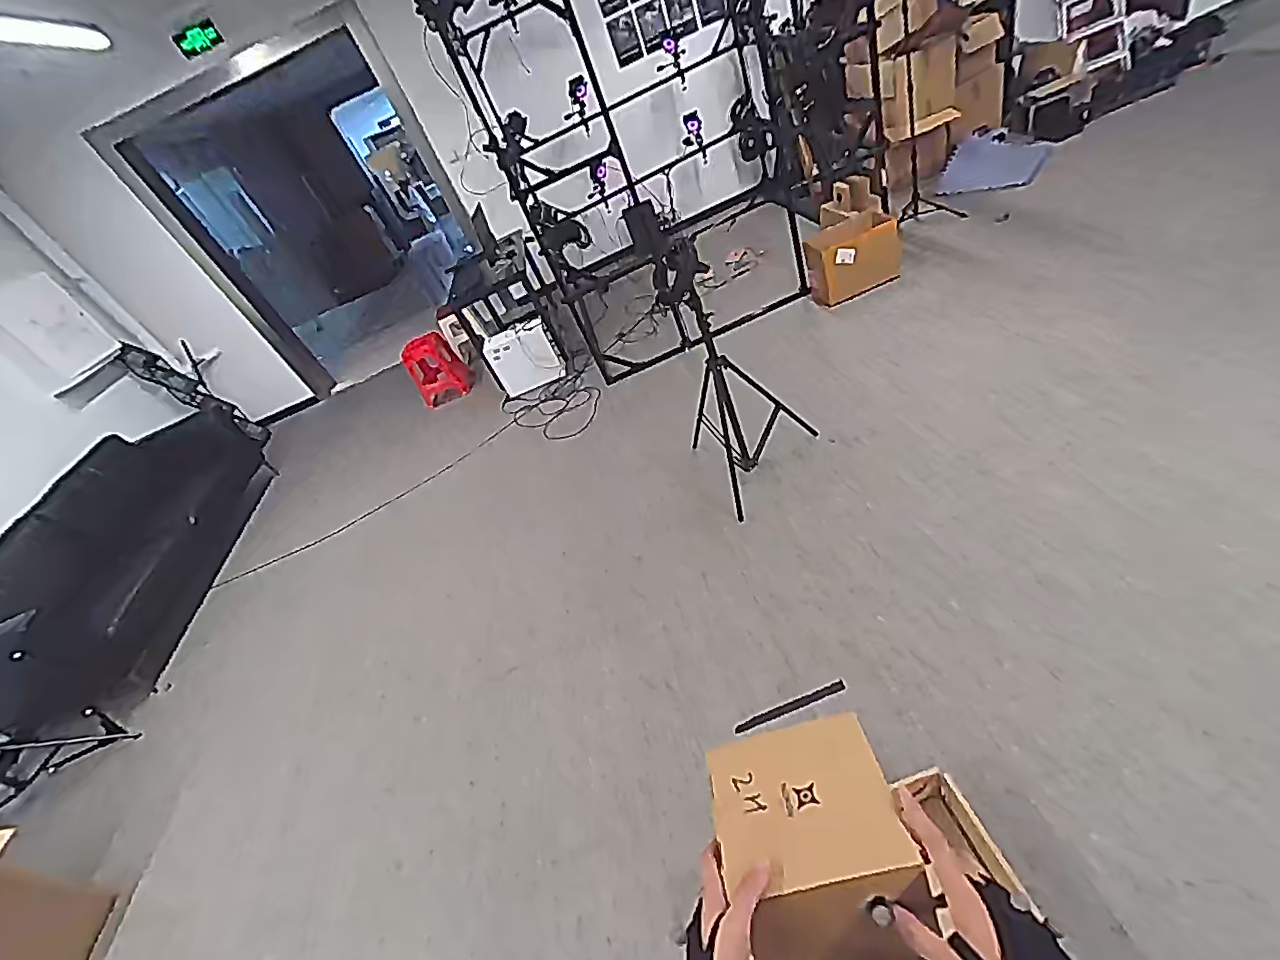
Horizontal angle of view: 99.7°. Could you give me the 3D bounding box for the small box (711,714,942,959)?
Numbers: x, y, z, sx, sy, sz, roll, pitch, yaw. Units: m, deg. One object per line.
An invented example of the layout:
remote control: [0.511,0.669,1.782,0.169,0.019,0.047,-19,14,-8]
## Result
small box: [0.189,0.385,0.562,0.179,0.176,0.168,-20,22,8]
